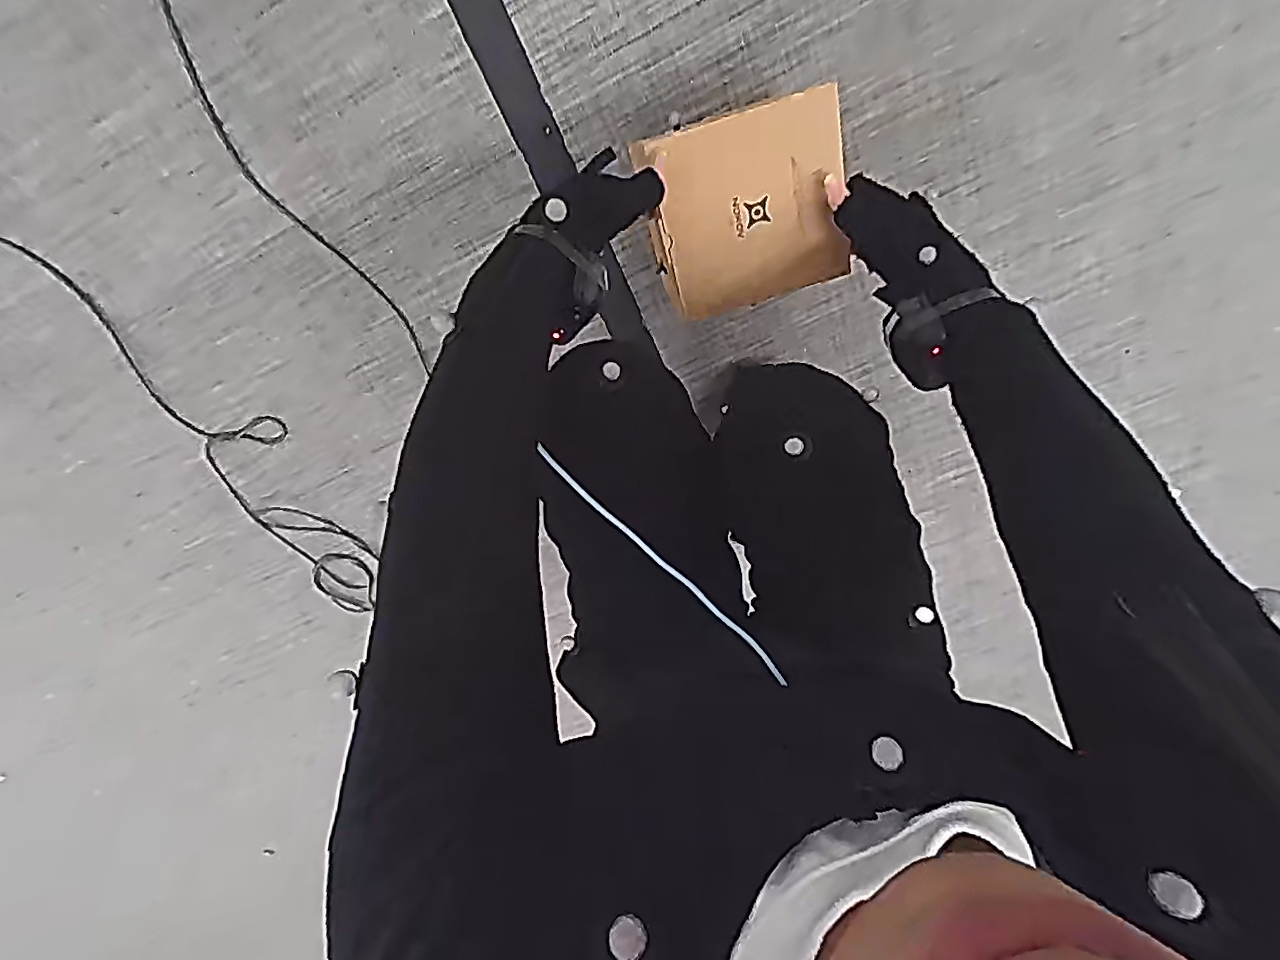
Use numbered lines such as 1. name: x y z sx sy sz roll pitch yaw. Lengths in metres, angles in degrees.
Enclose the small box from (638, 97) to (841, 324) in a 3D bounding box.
1. small box: 0.100 -0.292 0.595 0.179 0.176 0.168 -16 122 4
